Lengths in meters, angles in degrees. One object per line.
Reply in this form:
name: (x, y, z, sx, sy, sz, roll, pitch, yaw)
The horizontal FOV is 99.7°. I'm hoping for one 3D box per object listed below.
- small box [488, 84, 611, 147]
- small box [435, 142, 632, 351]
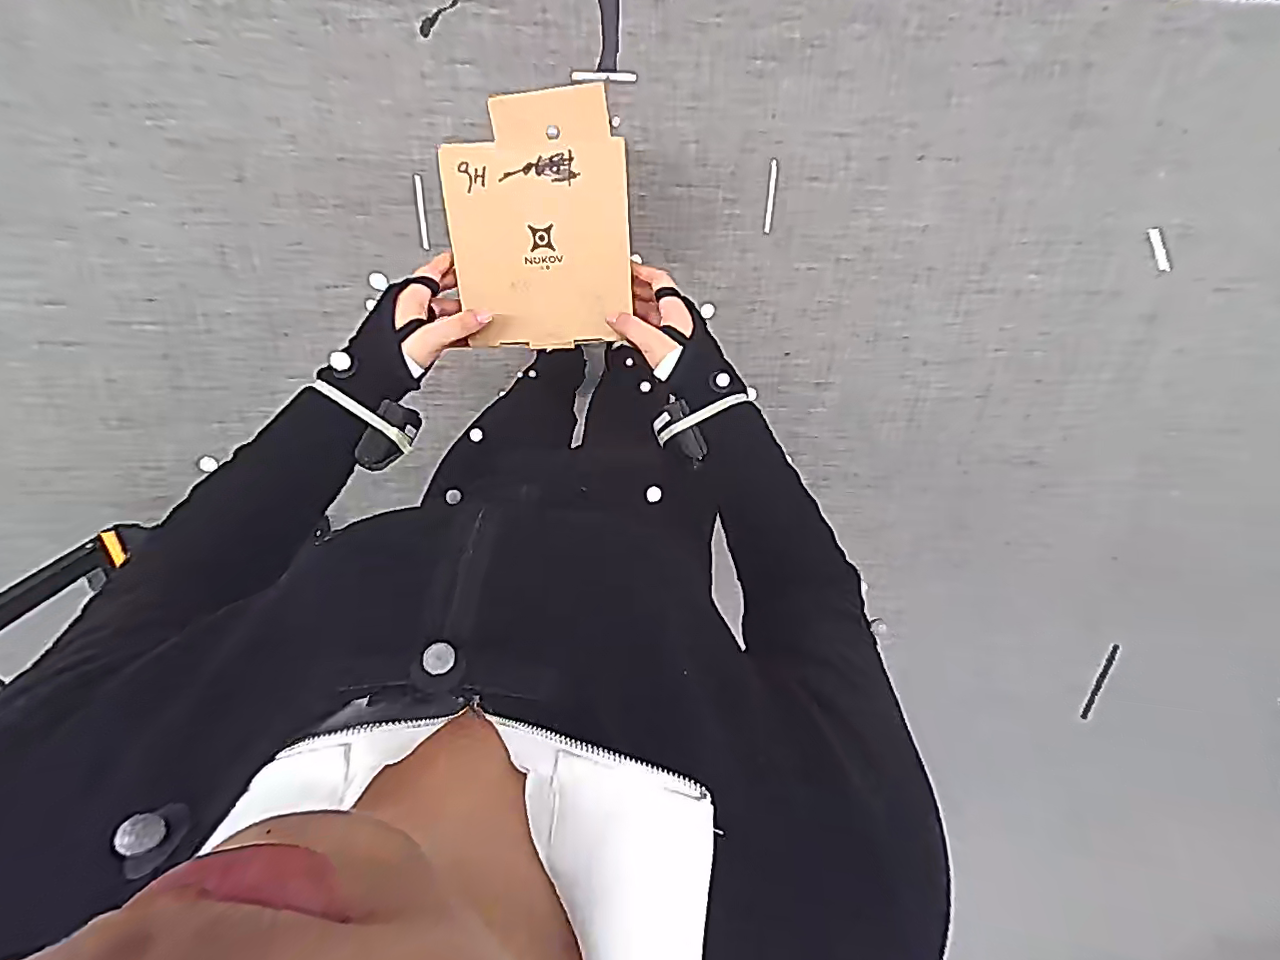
small box: (-0.125, -0.487, 0.847, 0.168, 0.176, 0.179, -8, 116, 1)
small box: (-0.094, -0.244, 0.573, 0.168, 0.176, 0.179, -3, 115, 0)
